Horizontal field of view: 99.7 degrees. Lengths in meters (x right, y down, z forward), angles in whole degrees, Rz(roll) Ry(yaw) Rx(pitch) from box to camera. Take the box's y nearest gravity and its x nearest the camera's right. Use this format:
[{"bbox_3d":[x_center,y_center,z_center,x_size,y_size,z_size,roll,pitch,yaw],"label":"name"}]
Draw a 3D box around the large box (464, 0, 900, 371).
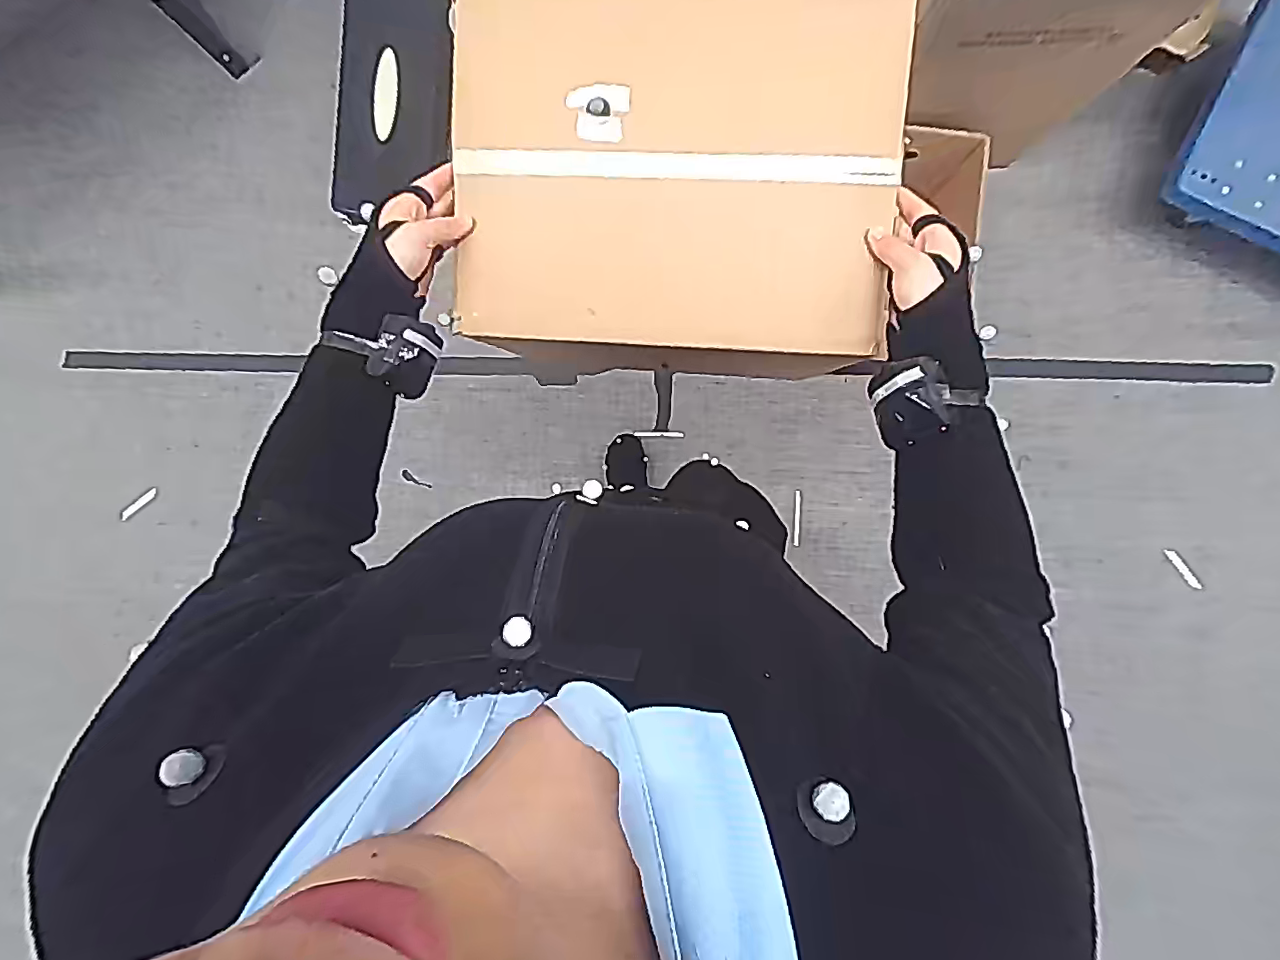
[{"bbox_3d":[0.042,-0.302,0.655,0.408,0.320,0.320,3,95,5],"label":"large box"}]
